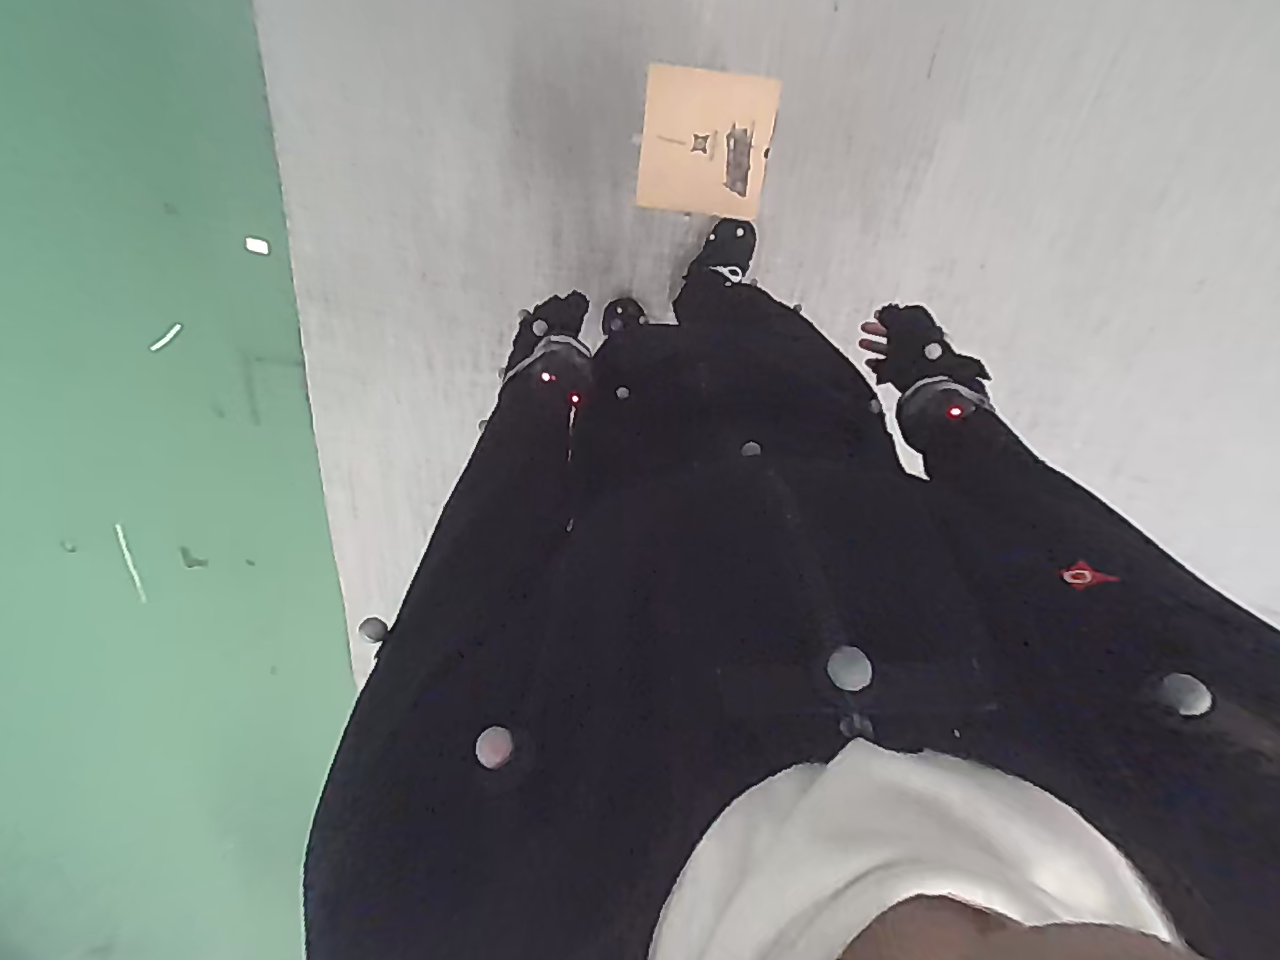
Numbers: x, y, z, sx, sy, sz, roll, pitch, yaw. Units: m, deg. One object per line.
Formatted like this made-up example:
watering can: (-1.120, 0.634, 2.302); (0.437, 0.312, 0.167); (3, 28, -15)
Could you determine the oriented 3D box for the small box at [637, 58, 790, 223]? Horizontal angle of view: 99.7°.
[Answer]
small box: (0.097, -0.486, 0.796); (0.179, 0.176, 0.168); (10, 116, -3)
